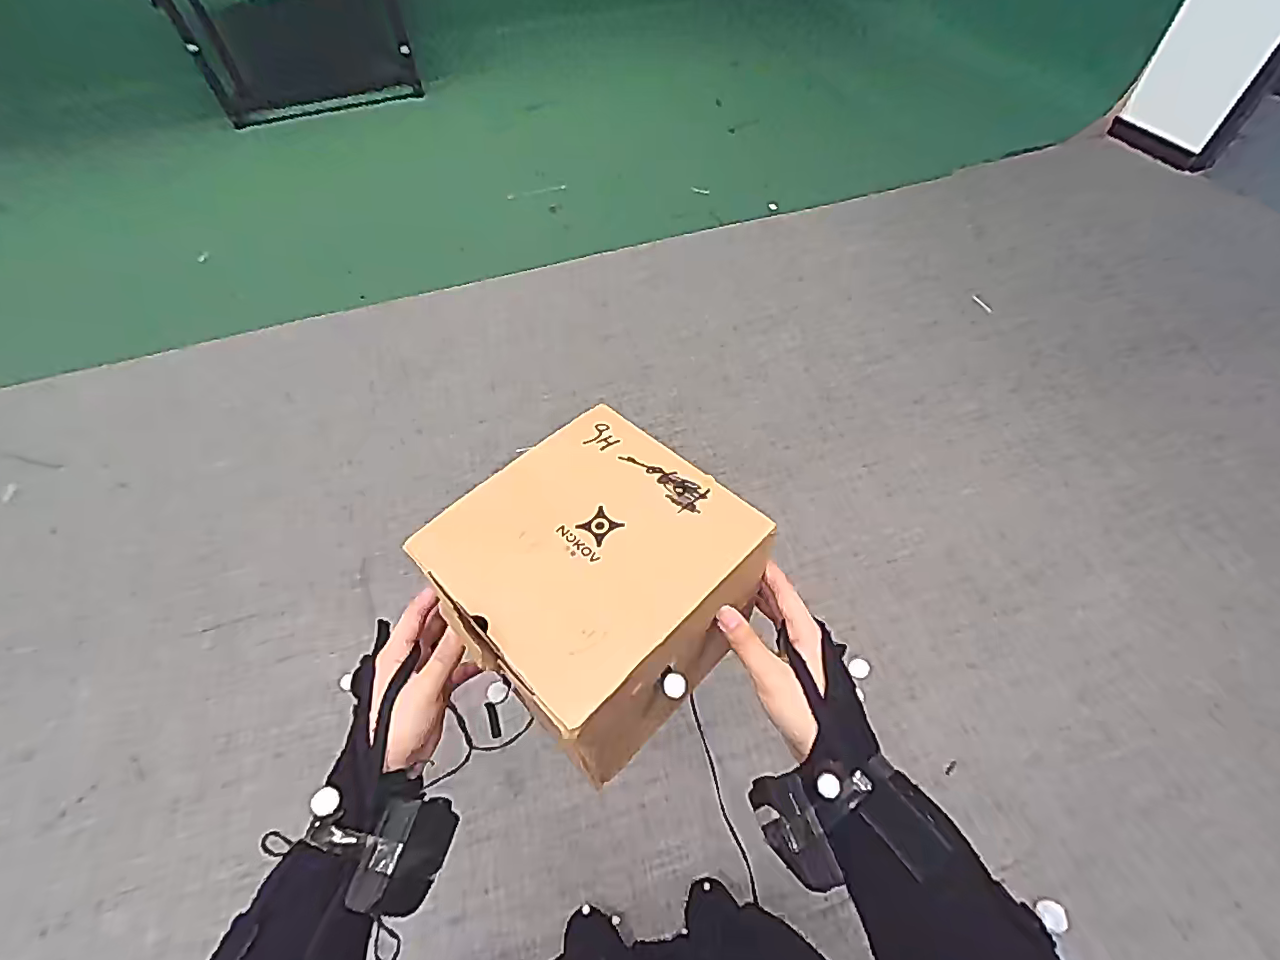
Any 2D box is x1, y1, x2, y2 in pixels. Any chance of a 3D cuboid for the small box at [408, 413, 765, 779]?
[{"bbox_3d":[-0.030,0.090,0.409,0.168,0.176,0.179,37,63,27],"label":"small box"}]
